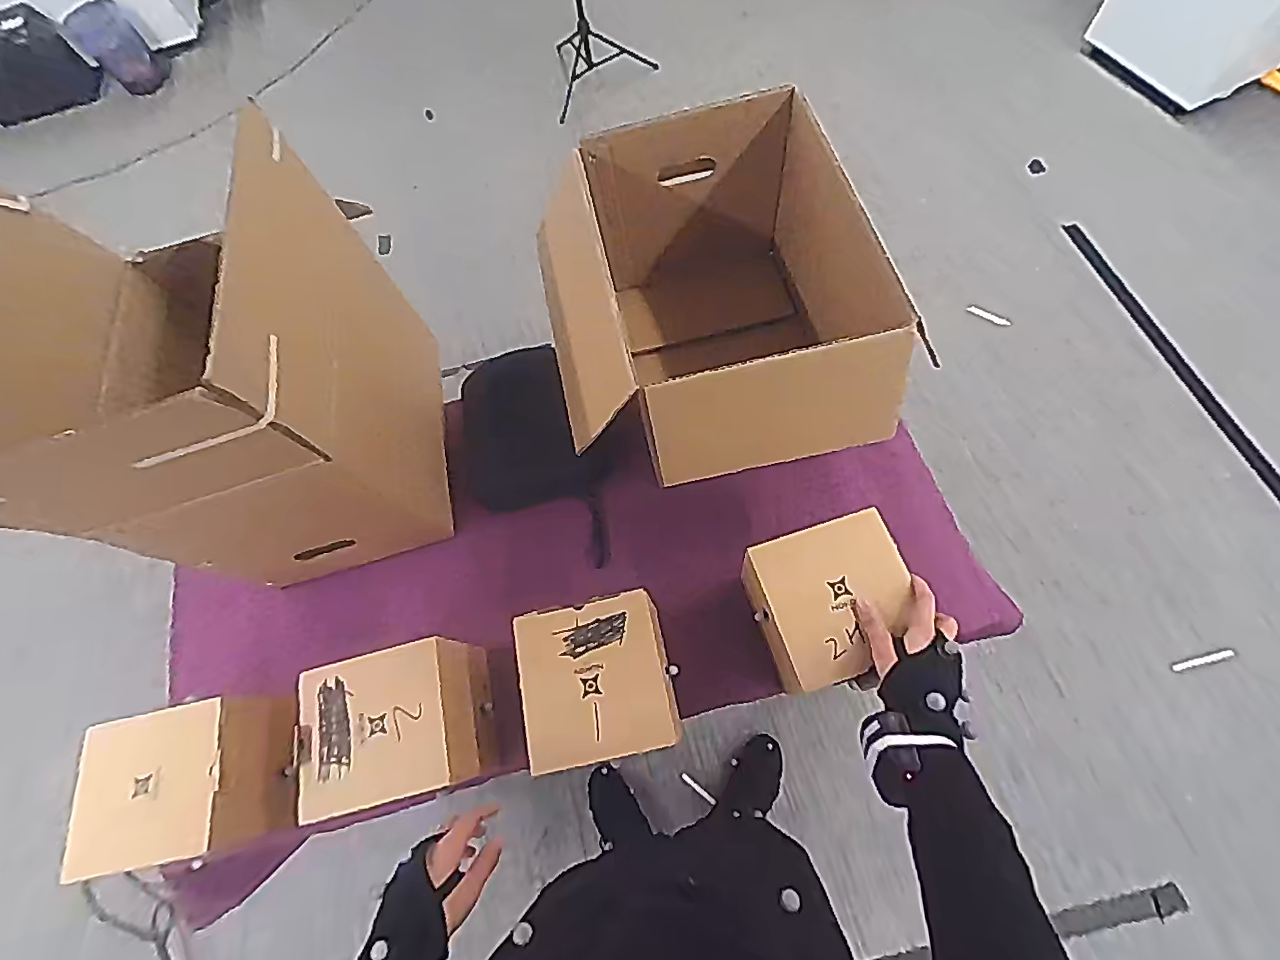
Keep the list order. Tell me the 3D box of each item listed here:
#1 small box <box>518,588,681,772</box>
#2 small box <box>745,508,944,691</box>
[{"bbox_3d":[-0.045,0.252,0.693,0.168,0.176,0.179,-13,69,2],"label":"small box"},{"bbox_3d":[0.241,0.161,0.694,0.168,0.176,0.179,-18,68,1],"label":"small box"}]
